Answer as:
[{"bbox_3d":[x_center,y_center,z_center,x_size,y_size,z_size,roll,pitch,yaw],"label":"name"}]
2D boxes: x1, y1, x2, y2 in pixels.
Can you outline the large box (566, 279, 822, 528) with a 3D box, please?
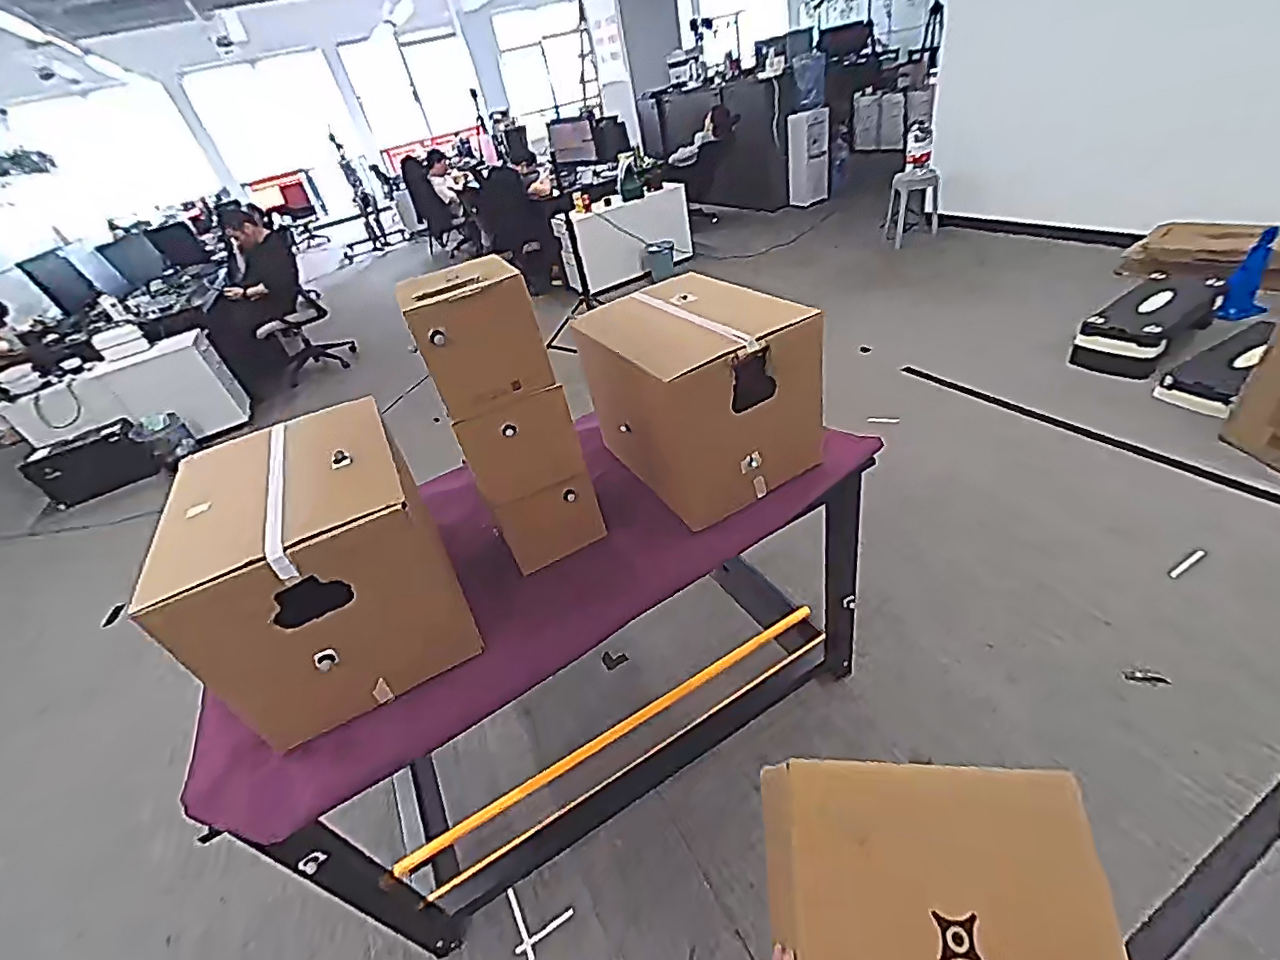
[{"bbox_3d":[0.105,-0.173,1.078,0.320,0.320,0.408,-26,37,-17],"label":"large box"}]
